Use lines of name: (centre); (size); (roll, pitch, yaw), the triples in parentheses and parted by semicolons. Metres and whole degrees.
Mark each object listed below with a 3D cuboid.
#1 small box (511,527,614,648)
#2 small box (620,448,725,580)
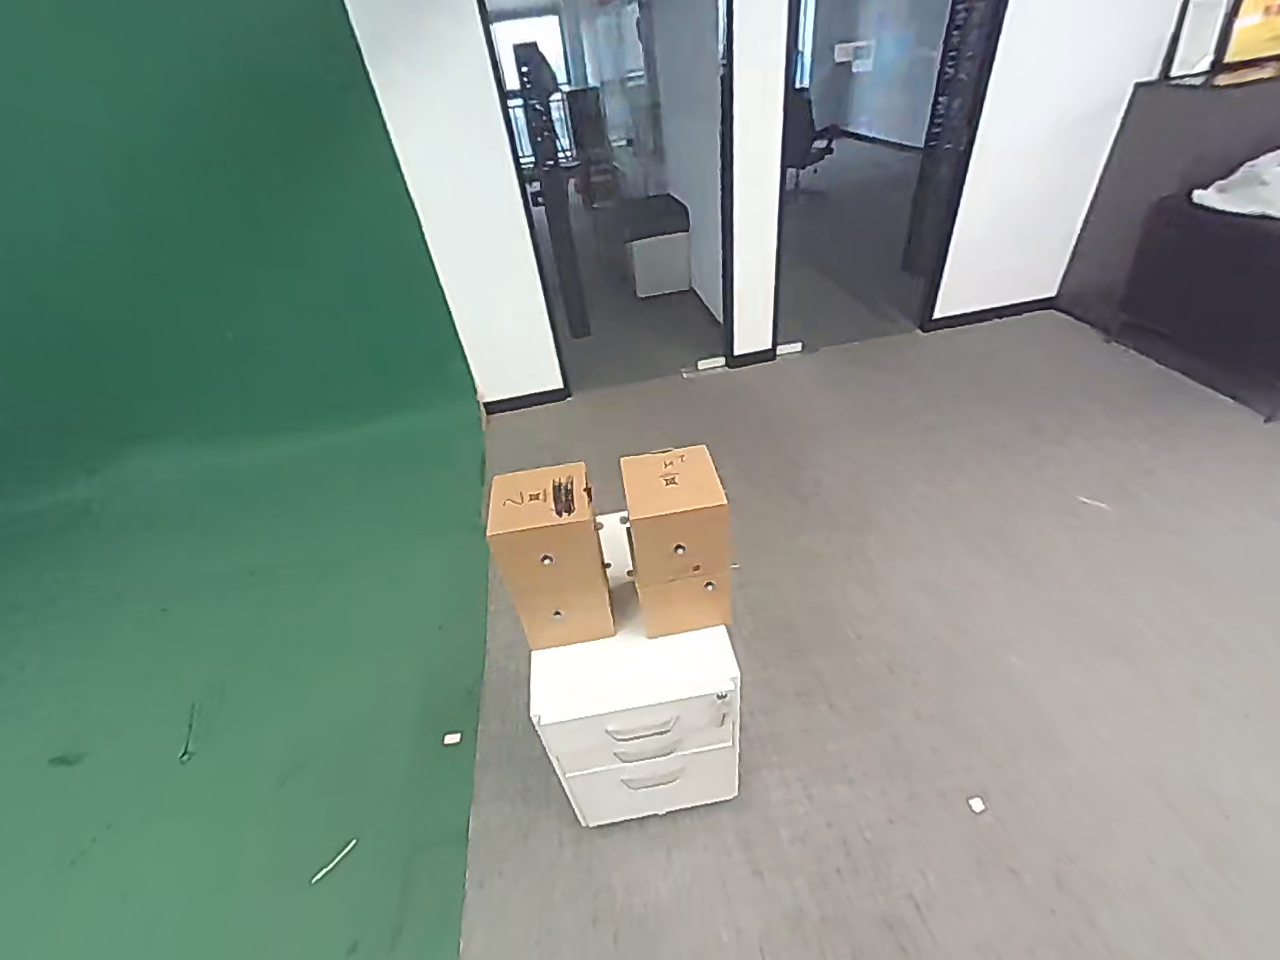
small box: (-0.155, 0.222, 1.105); (0.179, 0.176, 0.168); (-9, 39, -4)
small box: (0.060, 0.068, 0.998); (0.168, 0.176, 0.179); (-8, 38, -2)
